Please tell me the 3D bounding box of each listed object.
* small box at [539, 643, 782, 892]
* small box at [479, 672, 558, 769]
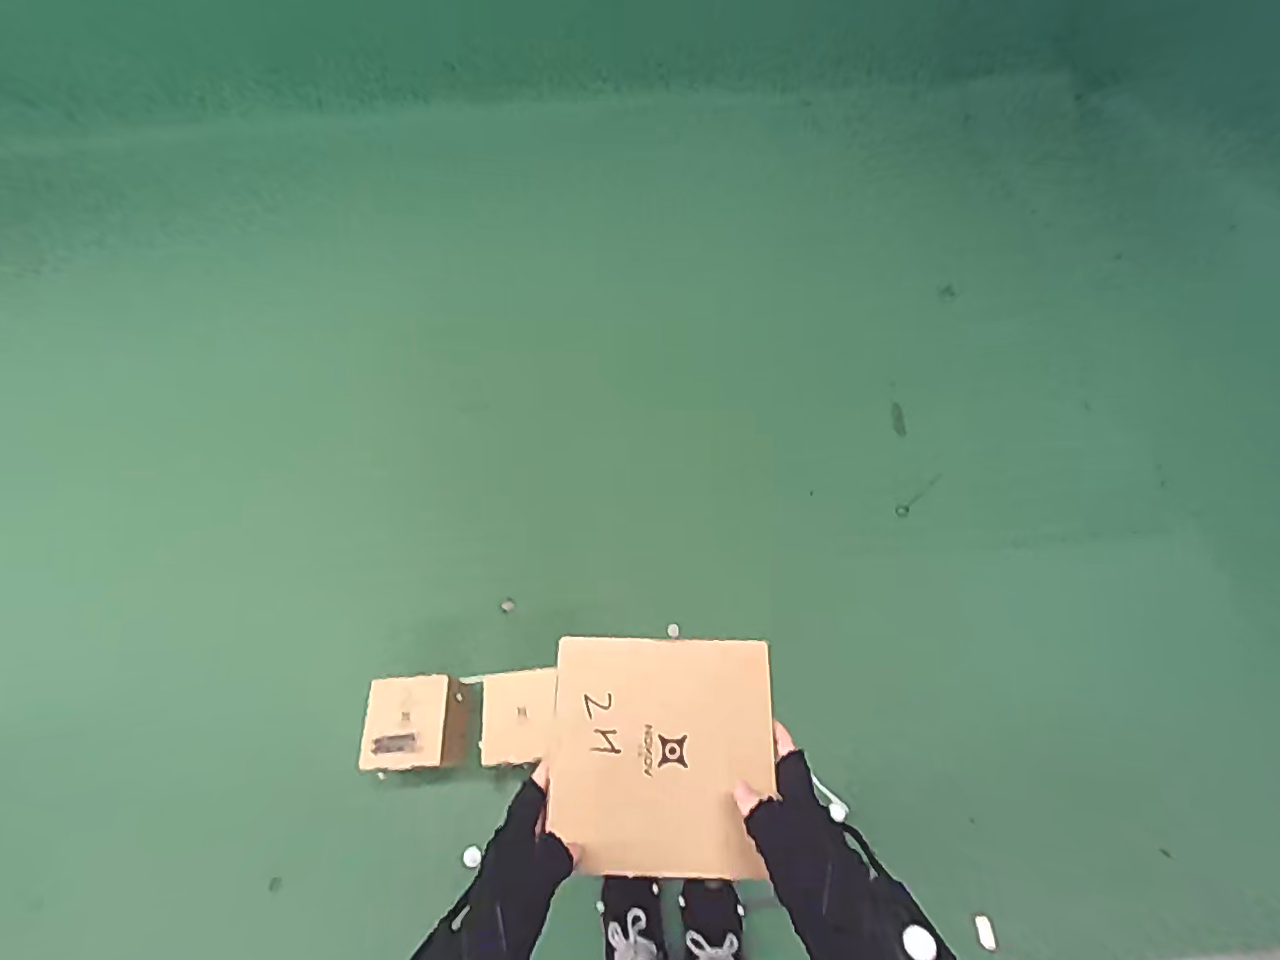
[{"bbox_3d":[0.019,0.241,0.487,0.179,0.176,0.168,1,68,3],"label":"small box"},{"bbox_3d":[-0.251,0.538,1.201,0.168,0.176,0.179,-5,63,-2],"label":"small box"}]
